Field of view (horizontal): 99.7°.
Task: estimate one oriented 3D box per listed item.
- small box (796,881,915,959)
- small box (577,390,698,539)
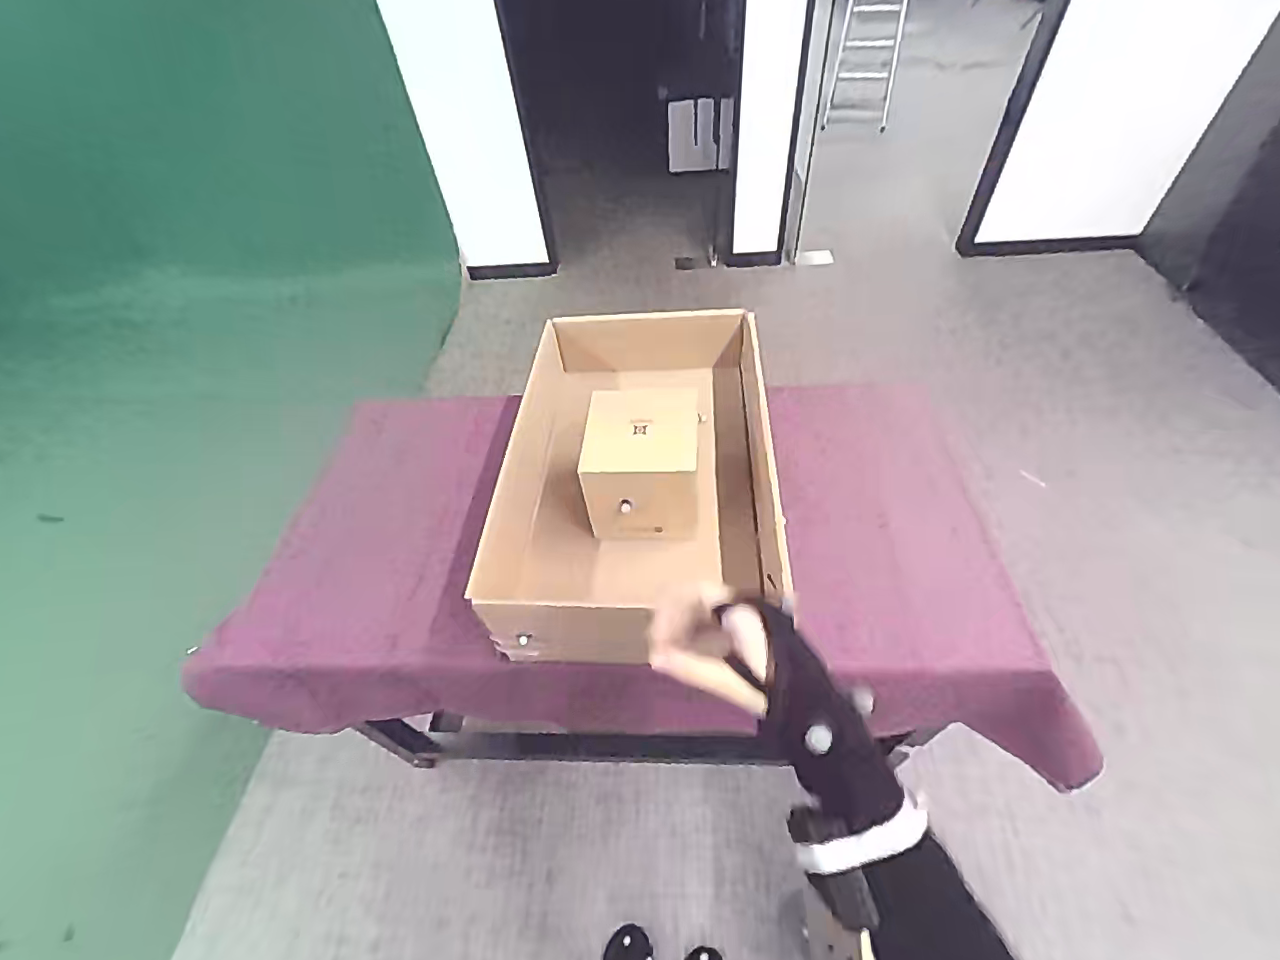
[{"bbox_3d":[0.417,0.897,1.061,0.179,0.176,0.168,-2,50,5],"label":"small box"},{"bbox_3d":[0.007,-0.021,0.852,0.168,0.176,0.179,0,49,6],"label":"small box"}]
